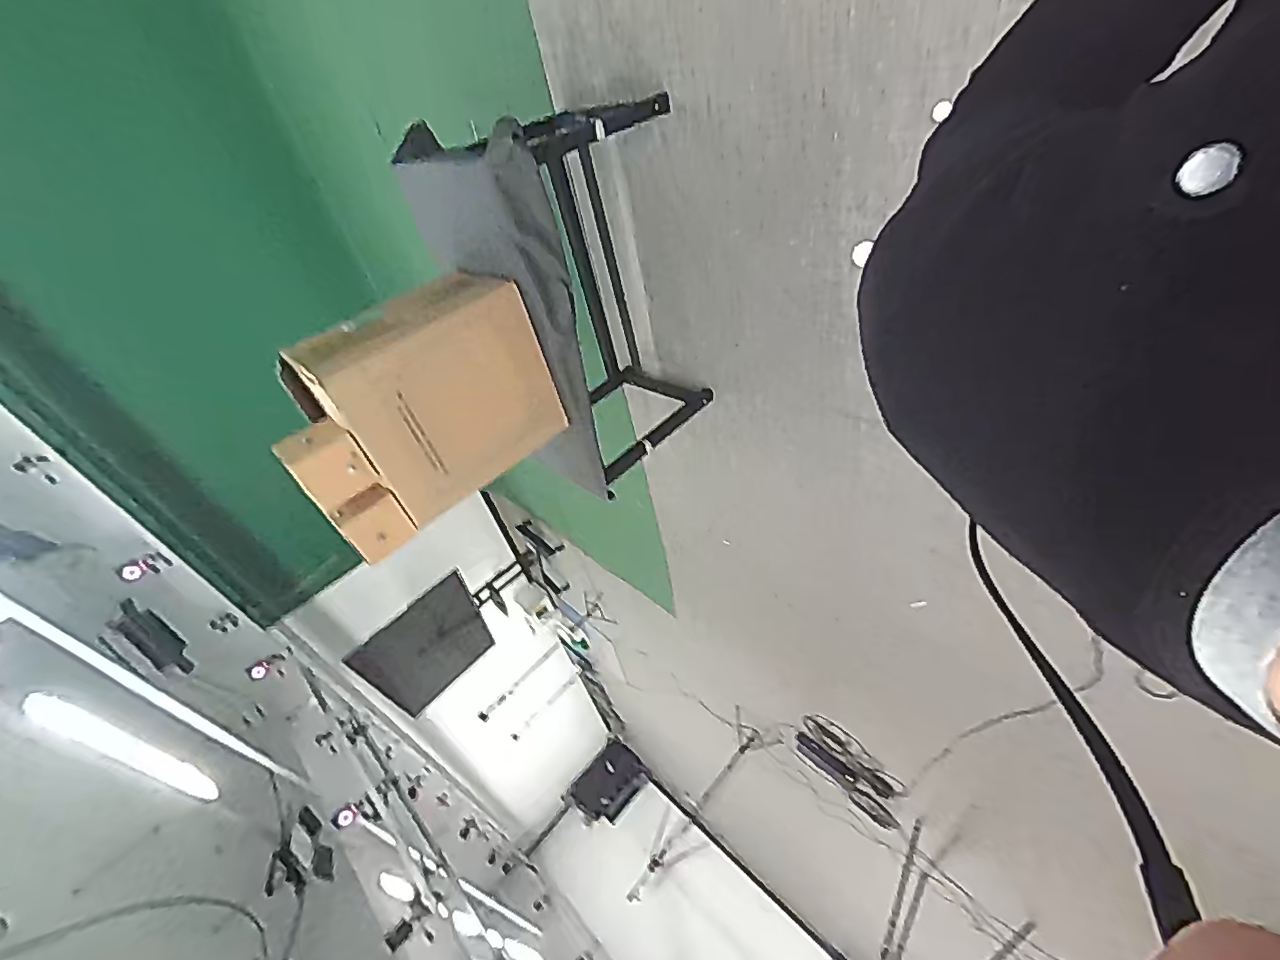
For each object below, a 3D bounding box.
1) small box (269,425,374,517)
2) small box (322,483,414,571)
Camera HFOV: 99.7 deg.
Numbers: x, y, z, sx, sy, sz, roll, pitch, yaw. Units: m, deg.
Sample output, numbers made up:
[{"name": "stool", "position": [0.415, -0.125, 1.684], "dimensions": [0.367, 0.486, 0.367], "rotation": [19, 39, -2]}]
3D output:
[{"name": "small box", "position": [-0.876, -0.033, 1.499], "dimensions": [0.179, 0.176, 0.168], "rotation": [24, 143, 39]}, {"name": "small box", "position": [-0.819, 0.134, 1.633], "dimensions": [0.168, 0.176, 0.179], "rotation": [25, 145, 39]}]
